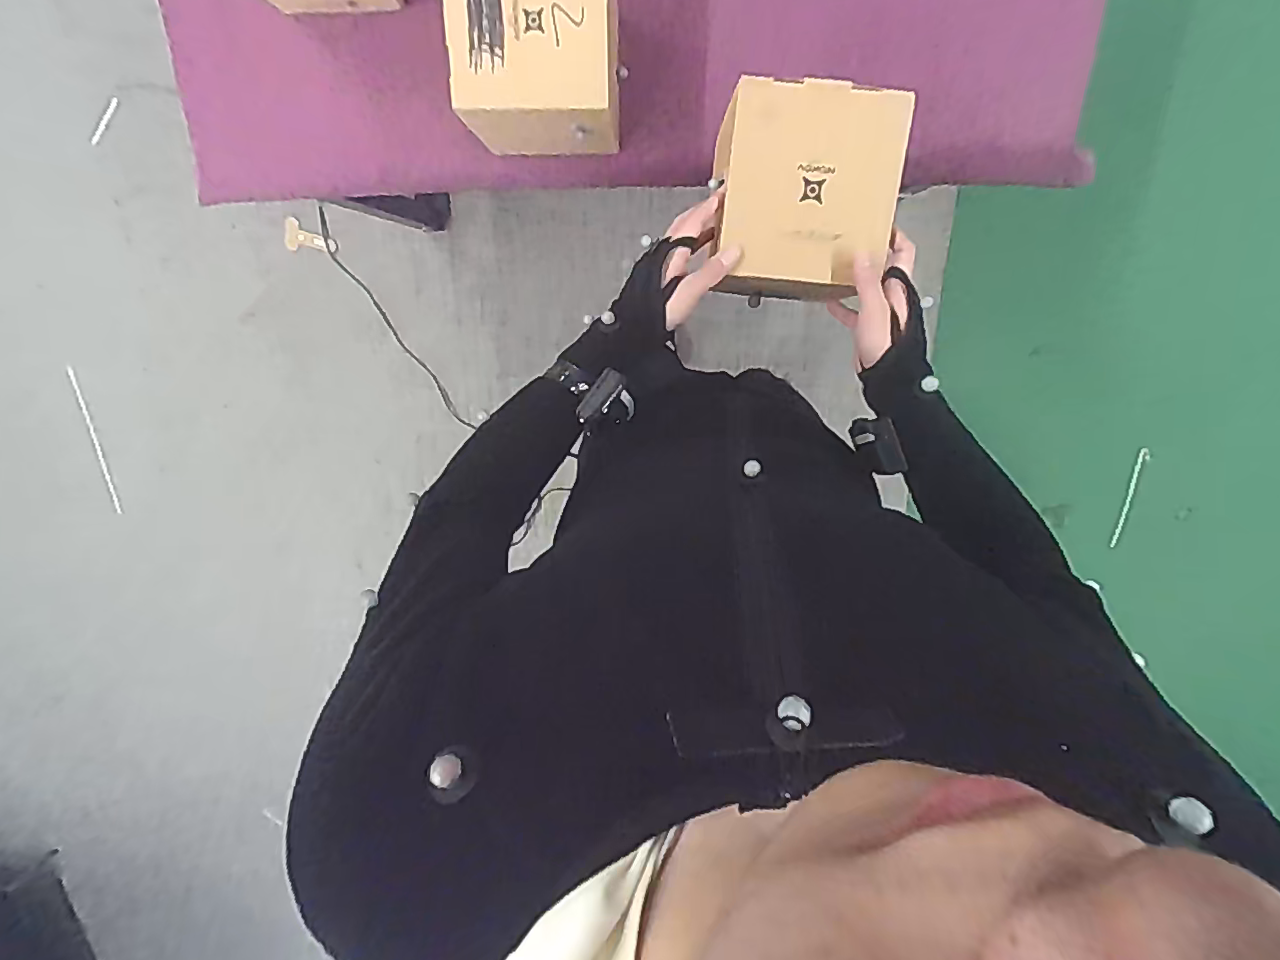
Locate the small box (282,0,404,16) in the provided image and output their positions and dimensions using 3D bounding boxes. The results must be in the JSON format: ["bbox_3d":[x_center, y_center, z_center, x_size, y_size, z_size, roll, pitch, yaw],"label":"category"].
[{"bbox_3d":[-0.387,-0.668,0.604,0.168,0.176,0.179,1,107,3],"label":"small box"}]

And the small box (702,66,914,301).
[{"bbox_3d":[0.164,-0.302,0.590,0.168,0.176,0.179,6,103,0],"label":"small box"}]
